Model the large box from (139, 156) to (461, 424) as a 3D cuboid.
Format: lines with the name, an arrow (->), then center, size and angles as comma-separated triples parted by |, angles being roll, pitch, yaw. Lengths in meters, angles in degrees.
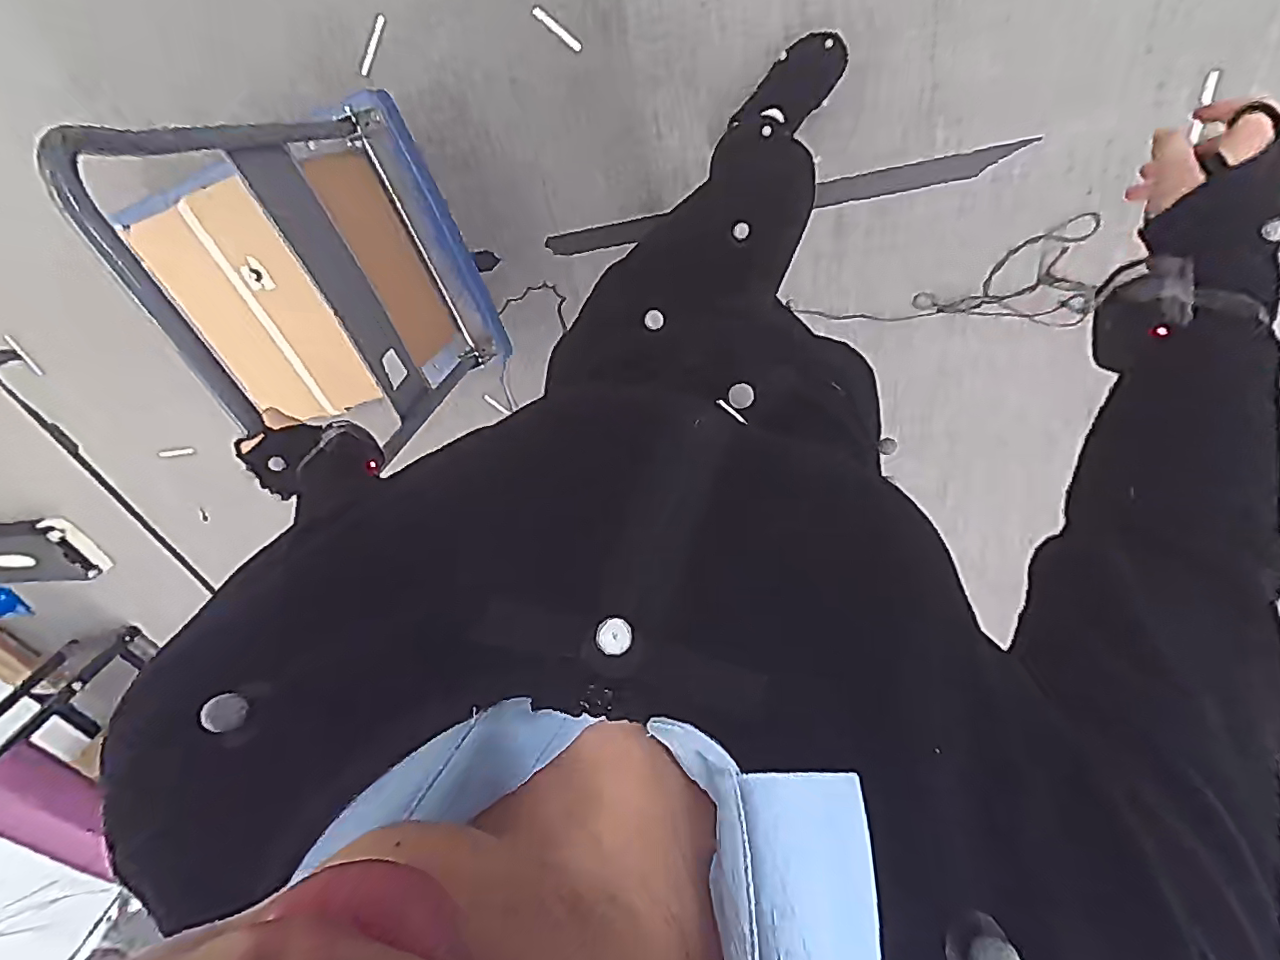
large box -> -0.648, -0.386, 1.116 | 0.320, 0.320, 0.408 | -12, 122, 17
